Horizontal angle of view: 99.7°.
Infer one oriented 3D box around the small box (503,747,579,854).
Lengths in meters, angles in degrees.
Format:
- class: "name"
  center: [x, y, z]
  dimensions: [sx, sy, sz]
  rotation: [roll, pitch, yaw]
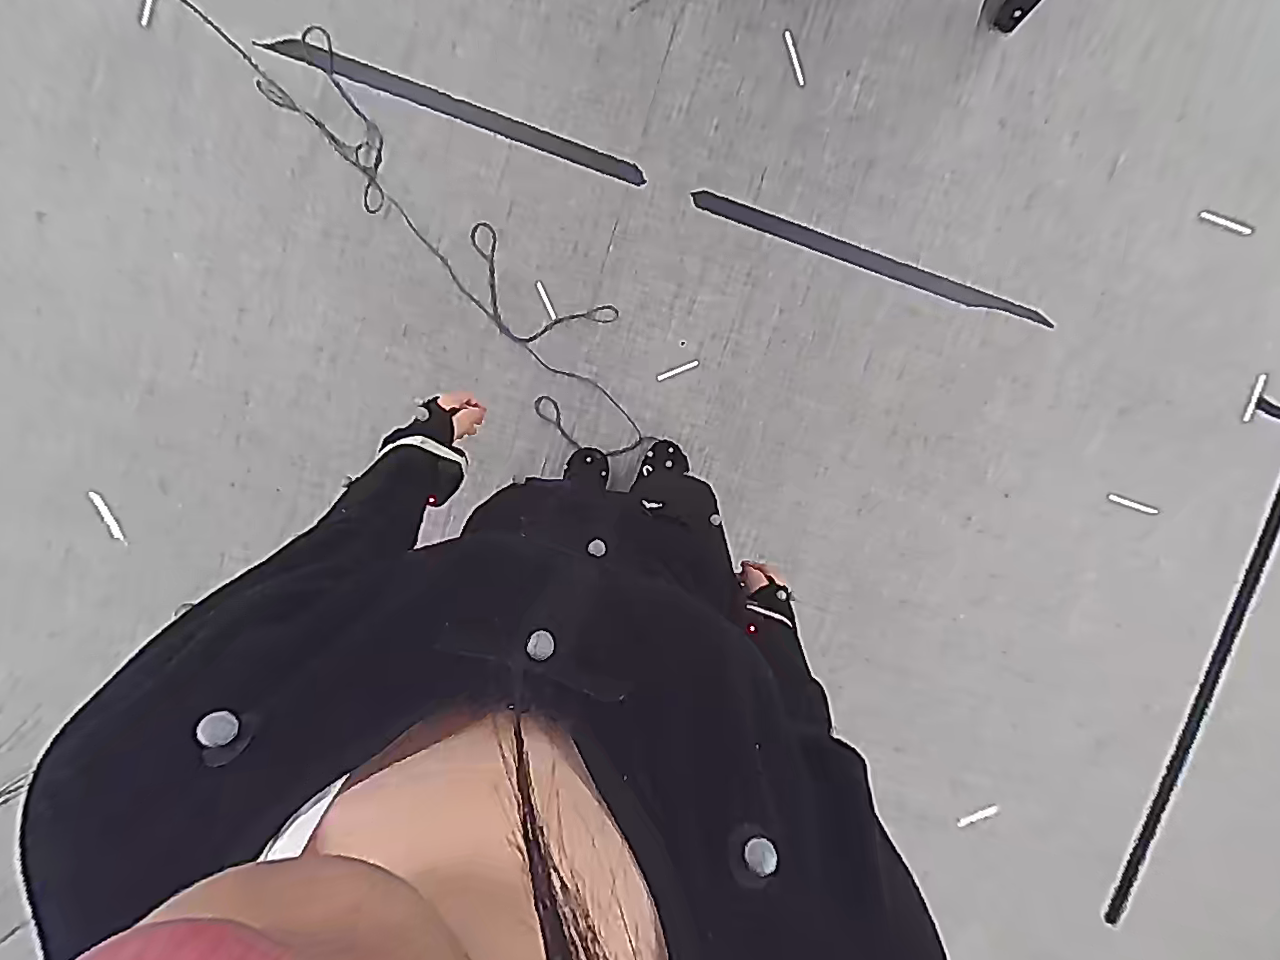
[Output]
- class: "small box"
  center: [-0.260, 0.856, 1.455]
  dimensions: [0.168, 0.176, 0.179]
  rotation: [8, 94, -4]
